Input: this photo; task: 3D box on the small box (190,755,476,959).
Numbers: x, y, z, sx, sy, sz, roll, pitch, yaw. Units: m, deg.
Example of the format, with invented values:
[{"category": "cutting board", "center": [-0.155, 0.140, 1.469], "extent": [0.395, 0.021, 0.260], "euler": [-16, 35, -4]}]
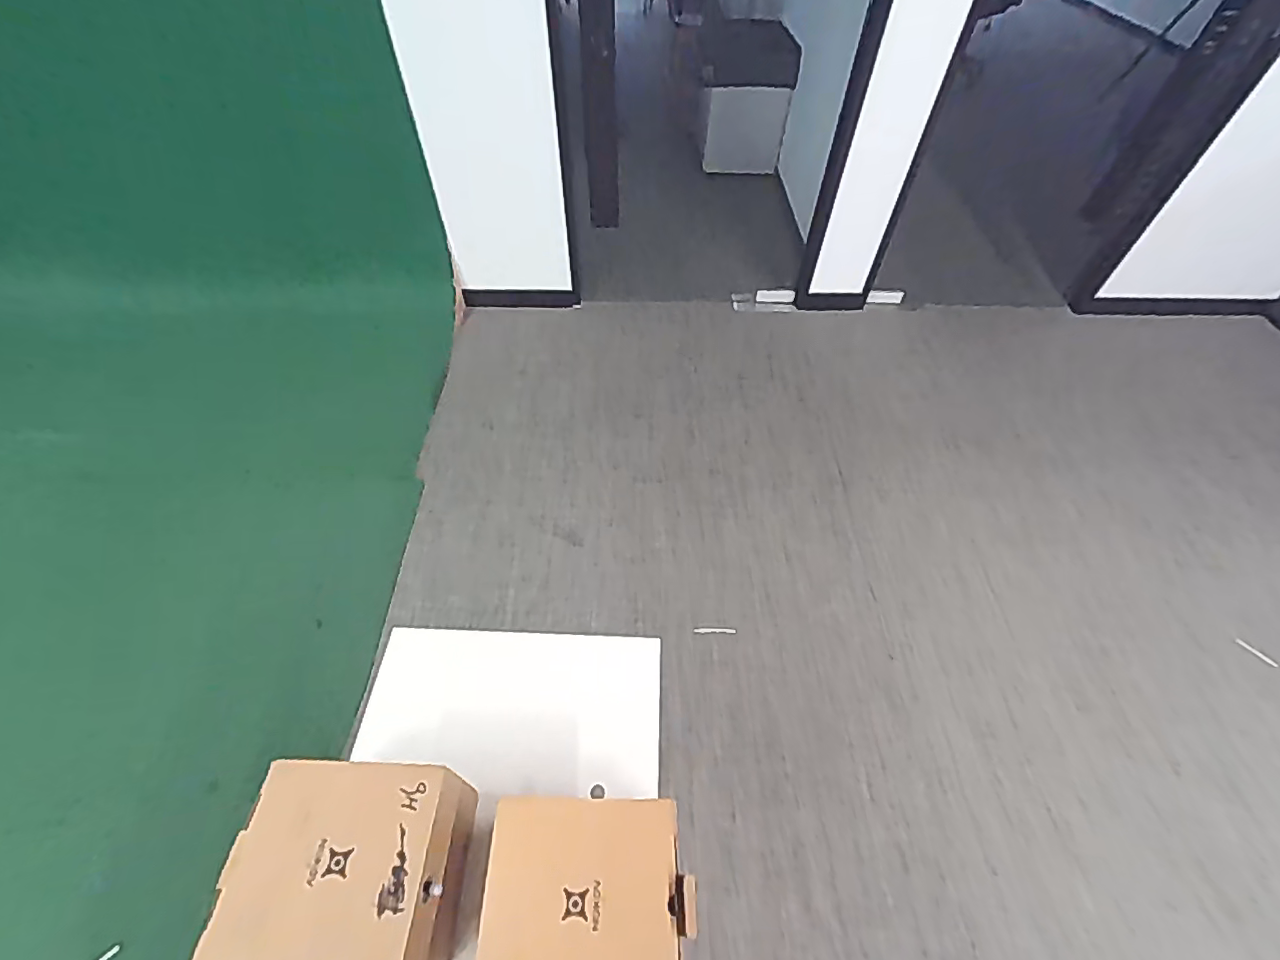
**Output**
[{"category": "small box", "center": [-0.287, 0.394, 0.557], "extent": [0.179, 0.176, 0.168], "euler": [2, 53, 0]}]
